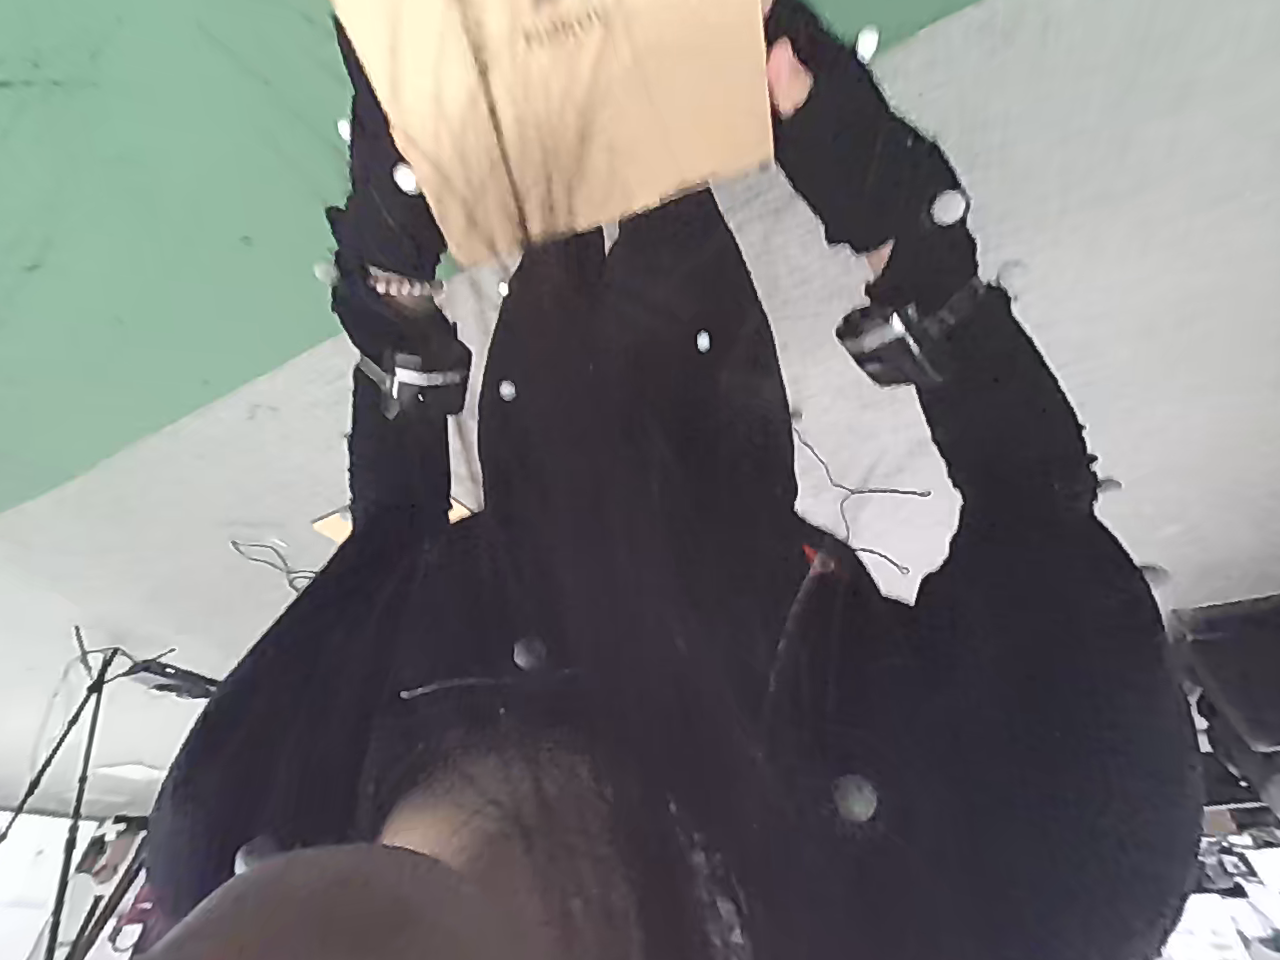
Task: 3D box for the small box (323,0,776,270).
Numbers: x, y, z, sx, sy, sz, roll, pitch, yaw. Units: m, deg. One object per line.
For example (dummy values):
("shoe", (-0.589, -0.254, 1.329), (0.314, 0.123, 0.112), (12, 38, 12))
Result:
("small box", (-0.050, -0.237, 0.267), (0.168, 0.176, 0.179), (-20, 130, 2))
